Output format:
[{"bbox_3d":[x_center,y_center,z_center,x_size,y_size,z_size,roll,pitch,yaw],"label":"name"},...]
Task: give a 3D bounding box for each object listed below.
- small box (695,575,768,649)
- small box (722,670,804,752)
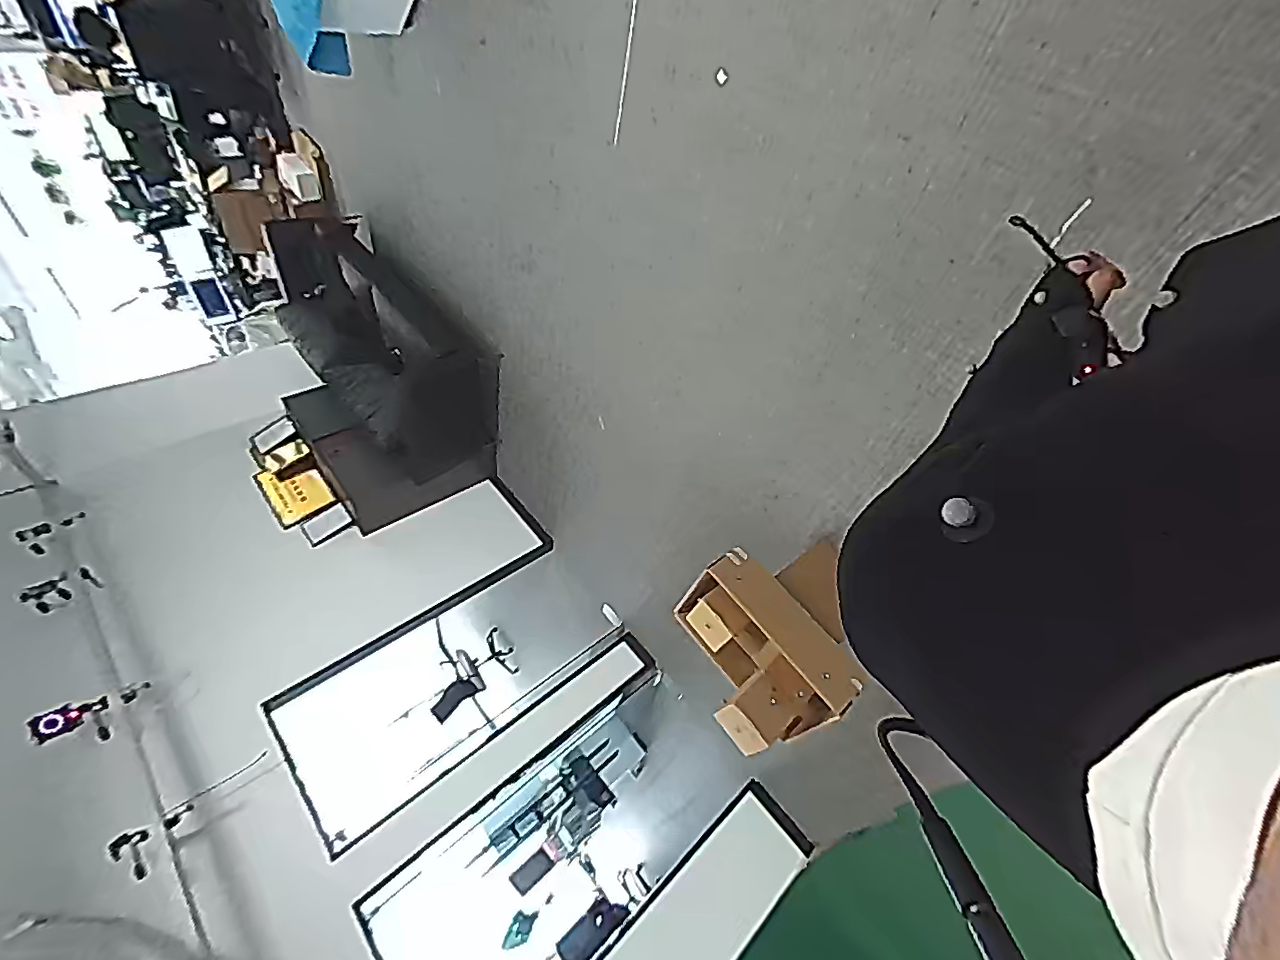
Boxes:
[{"bbox_3d":[0.338,0.483,1.985,0.168,0.176,0.179,49,144,20],"label":"small box"},{"bbox_3d":[0.410,0.762,1.786,0.168,0.176,0.179,49,145,18],"label":"small box"}]
